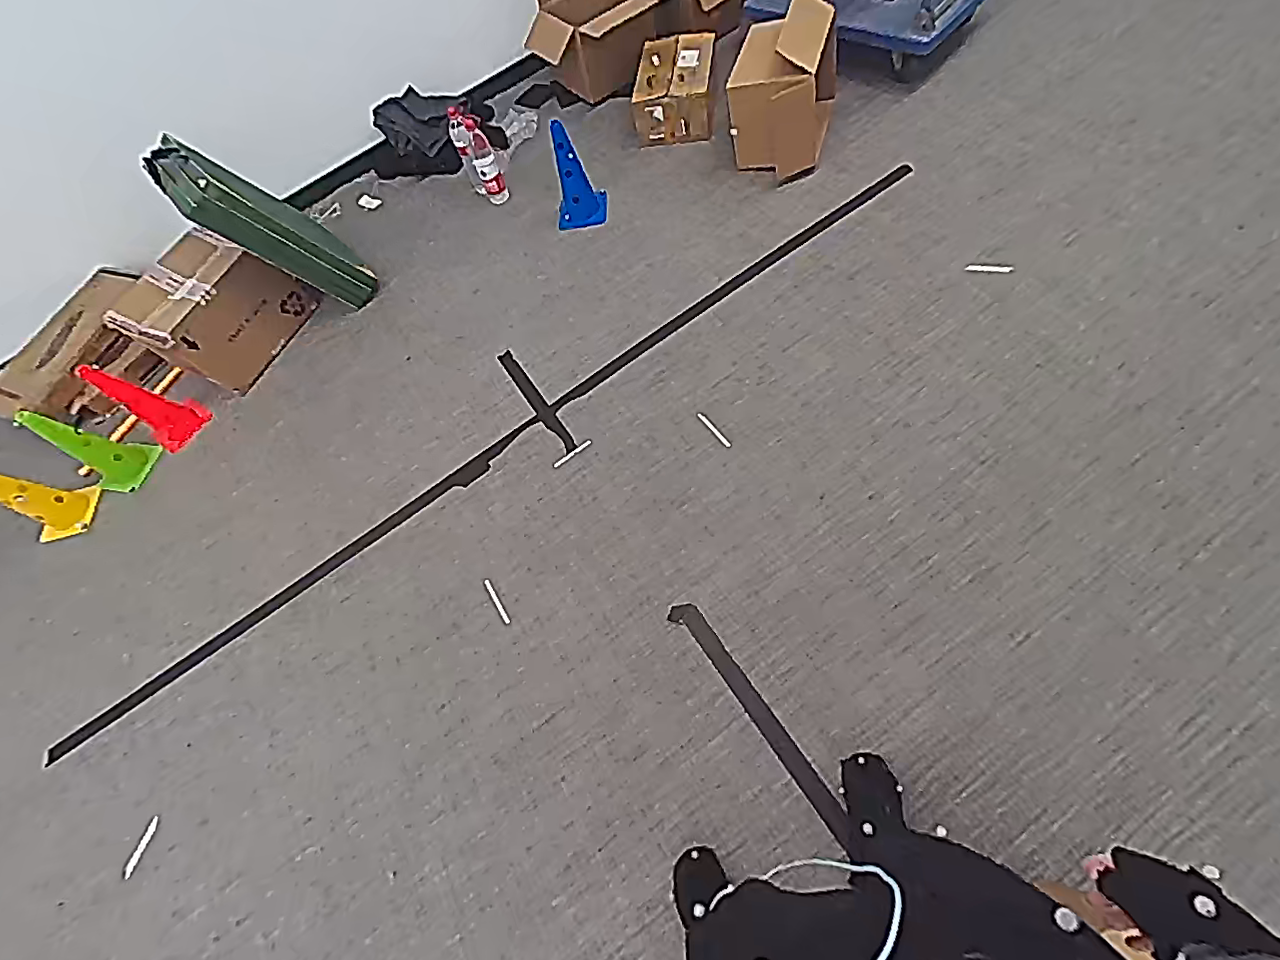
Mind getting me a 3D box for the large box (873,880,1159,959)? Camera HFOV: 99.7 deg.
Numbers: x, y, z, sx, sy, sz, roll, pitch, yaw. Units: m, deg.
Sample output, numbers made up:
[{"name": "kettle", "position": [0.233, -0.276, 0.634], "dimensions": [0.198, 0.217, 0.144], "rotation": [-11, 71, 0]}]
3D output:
[{"name": "large box", "position": [0.610, 0.898, 0.832], "dimensions": [0.408, 0.320, 0.320], "rotation": [-24, 61, -2]}]
